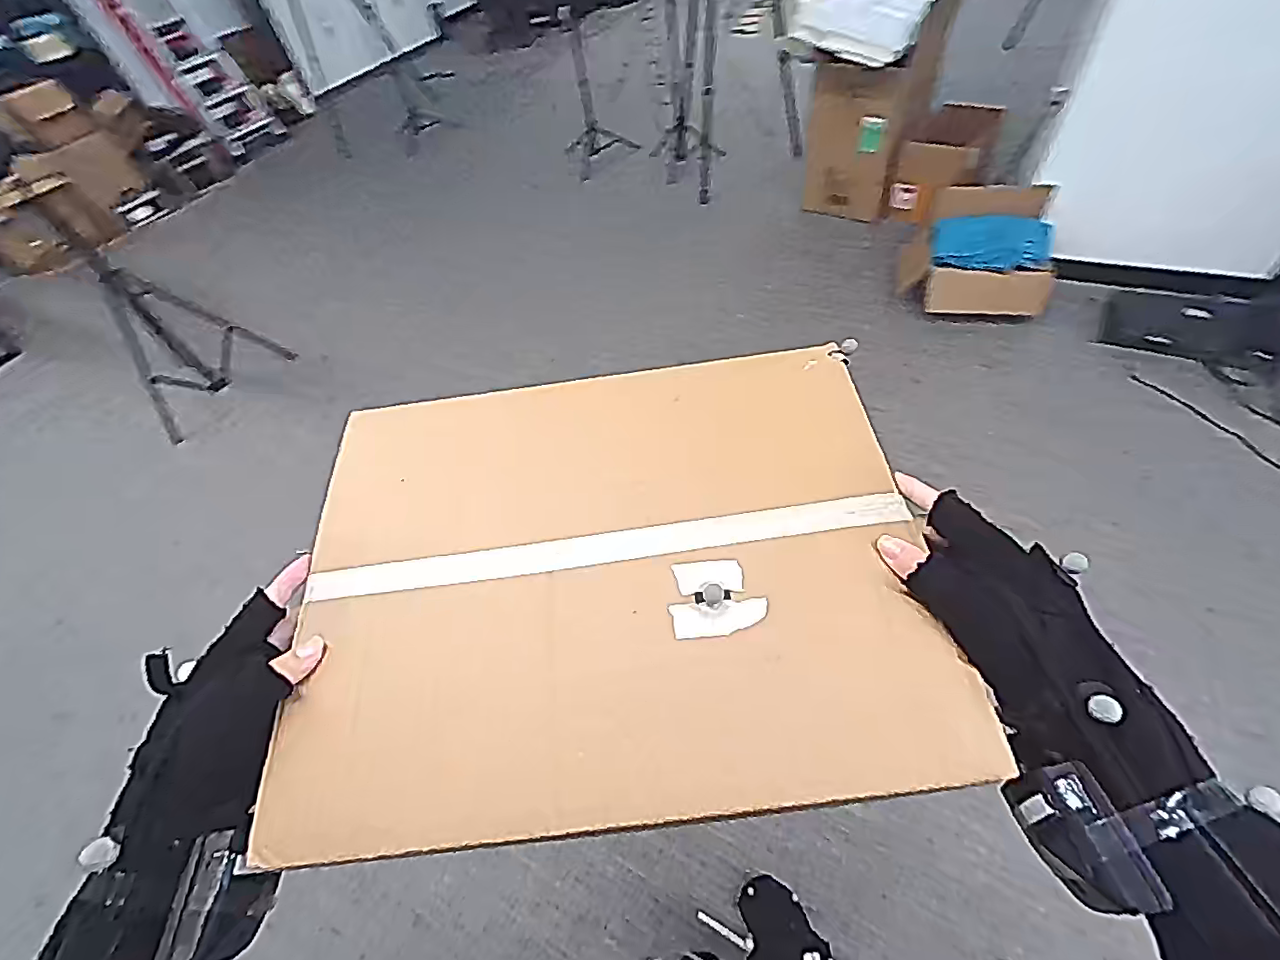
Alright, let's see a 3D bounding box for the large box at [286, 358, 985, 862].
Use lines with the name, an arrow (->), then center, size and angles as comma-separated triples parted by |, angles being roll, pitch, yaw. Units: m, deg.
large box -> -0.010, 0.132, 0.503 | 0.408, 0.320, 0.320 | -8, 58, 0
